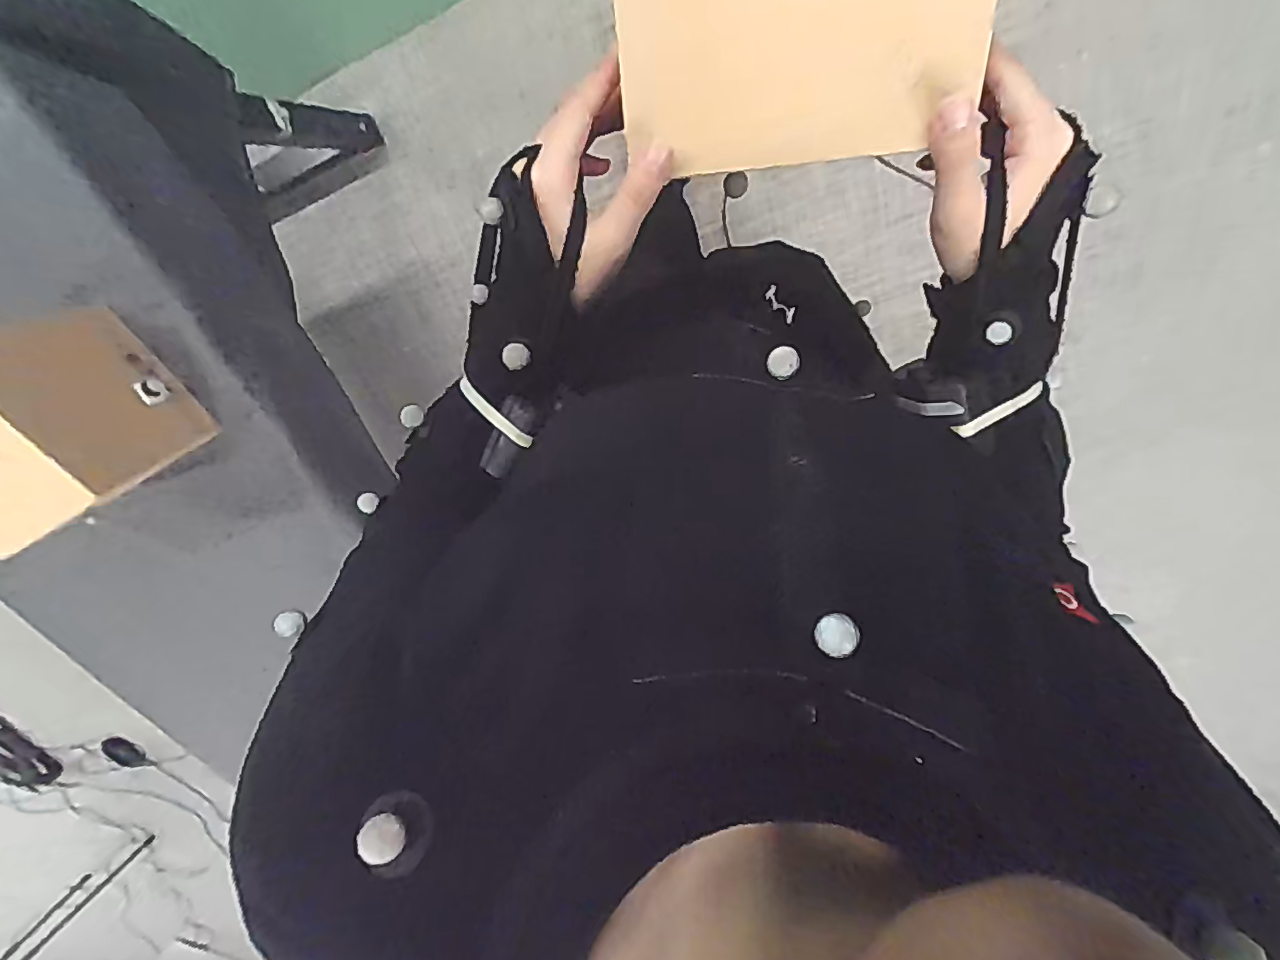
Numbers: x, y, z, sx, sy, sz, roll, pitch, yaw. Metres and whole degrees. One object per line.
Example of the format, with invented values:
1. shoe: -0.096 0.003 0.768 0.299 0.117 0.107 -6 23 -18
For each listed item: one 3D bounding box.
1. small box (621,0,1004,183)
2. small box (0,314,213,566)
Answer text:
1. small box: 0.077 -0.269 0.291 0.168 0.176 0.179 -3 119 5
2. small box: -0.609 -0.046 0.560 0.179 0.176 0.168 -25 116 16
